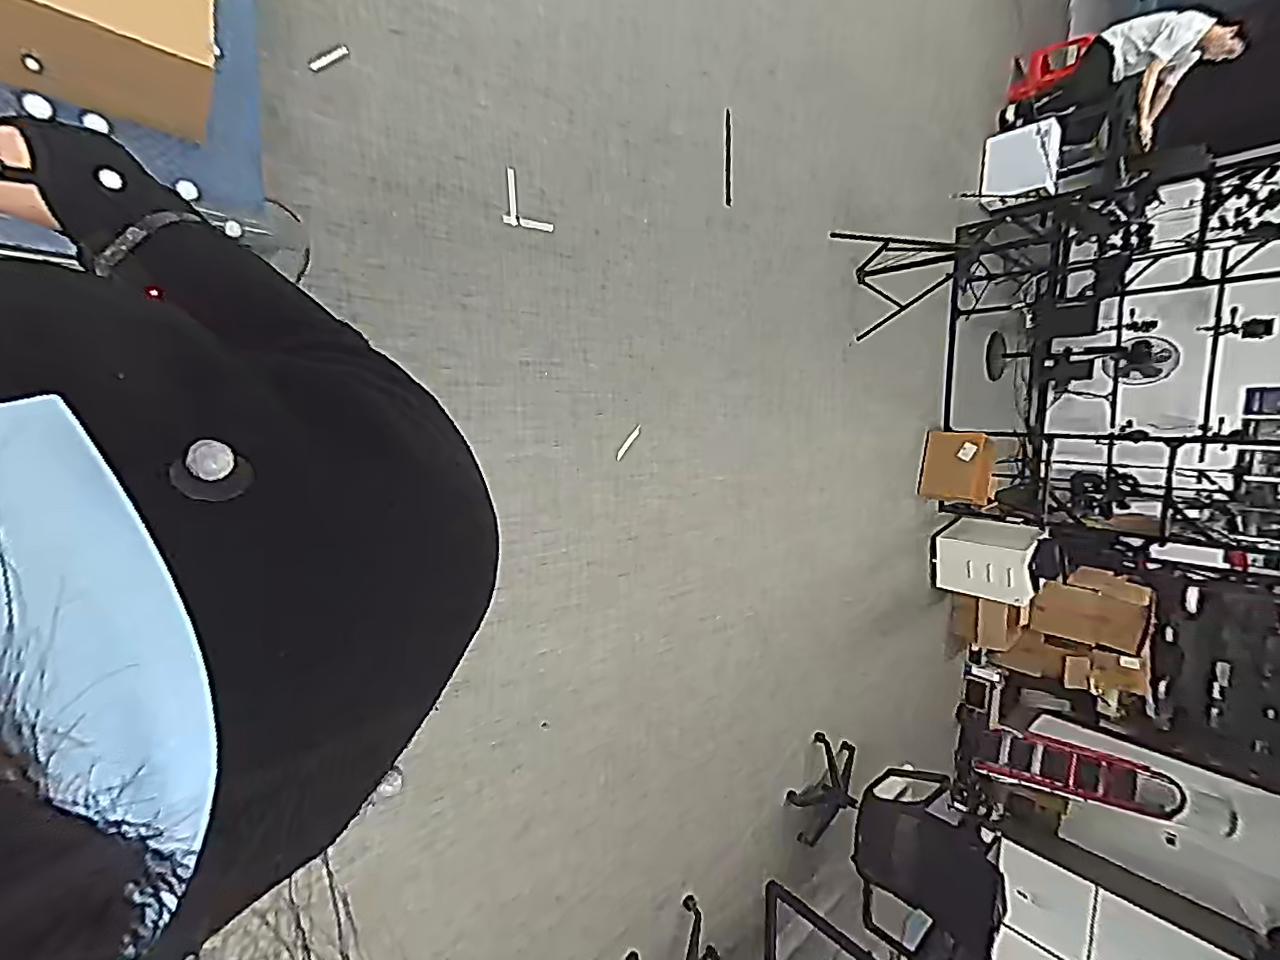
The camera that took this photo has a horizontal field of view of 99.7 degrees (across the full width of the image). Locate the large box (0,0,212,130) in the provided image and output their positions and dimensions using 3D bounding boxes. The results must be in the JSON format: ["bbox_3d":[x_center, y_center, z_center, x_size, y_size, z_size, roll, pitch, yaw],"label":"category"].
[{"bbox_3d":[-0.853,-0.764,0.741,0.408,0.320,0.320,-1,96,-40],"label":"large box"}]
